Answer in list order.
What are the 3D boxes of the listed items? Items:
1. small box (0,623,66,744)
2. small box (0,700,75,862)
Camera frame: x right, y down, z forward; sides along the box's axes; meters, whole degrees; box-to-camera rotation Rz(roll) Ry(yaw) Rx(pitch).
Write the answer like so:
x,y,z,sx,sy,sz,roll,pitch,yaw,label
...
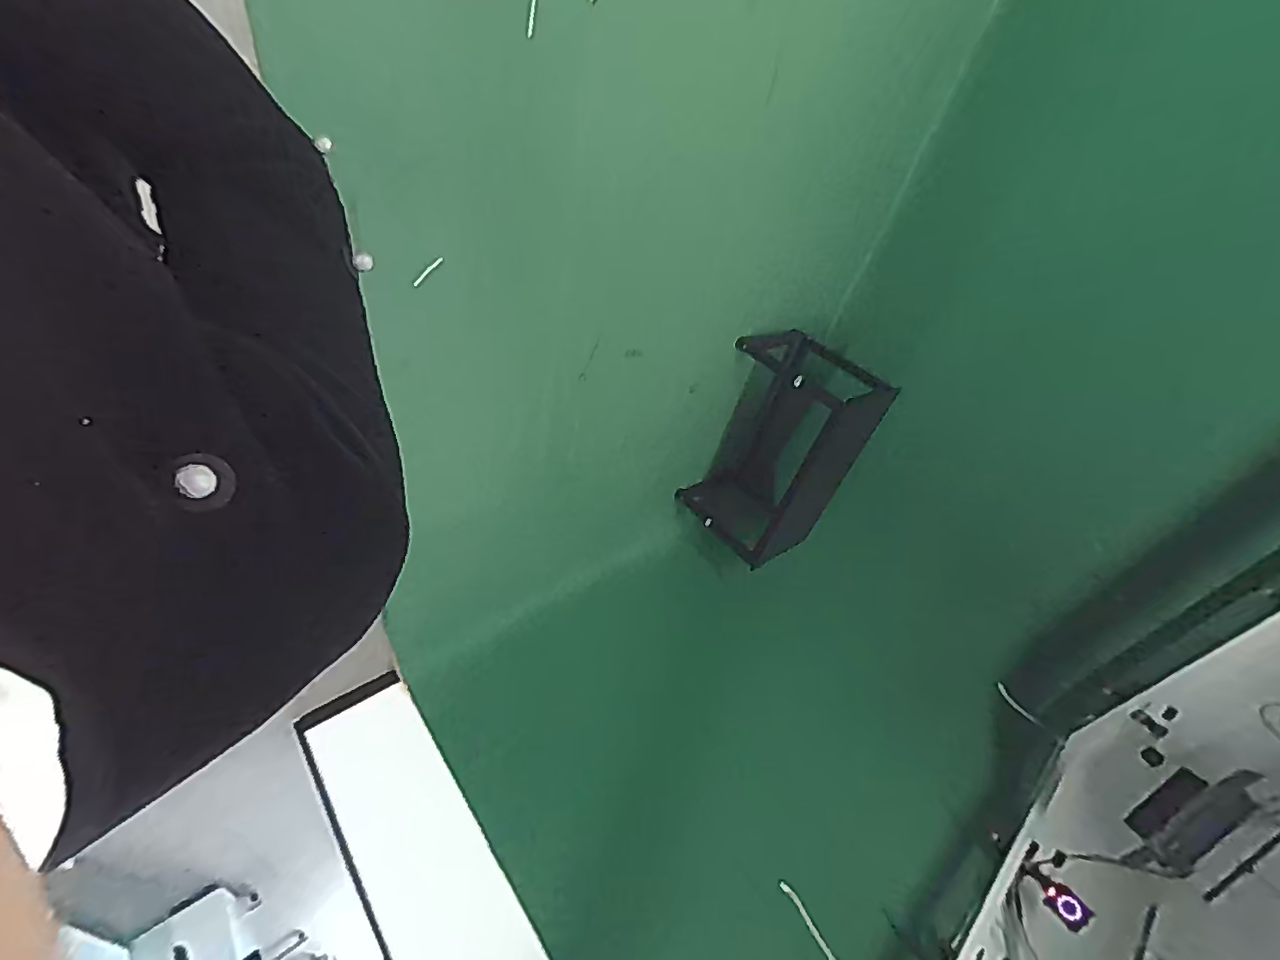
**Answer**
x,y,z,sx,sy,sz,roll,pitch,yaw,label
-1.105,0.373,0.900,0.168,0.176,0.179,-19,141,-39,small box
-1.005,0.472,0.819,0.168,0.176,0.179,-19,141,-40,small box
